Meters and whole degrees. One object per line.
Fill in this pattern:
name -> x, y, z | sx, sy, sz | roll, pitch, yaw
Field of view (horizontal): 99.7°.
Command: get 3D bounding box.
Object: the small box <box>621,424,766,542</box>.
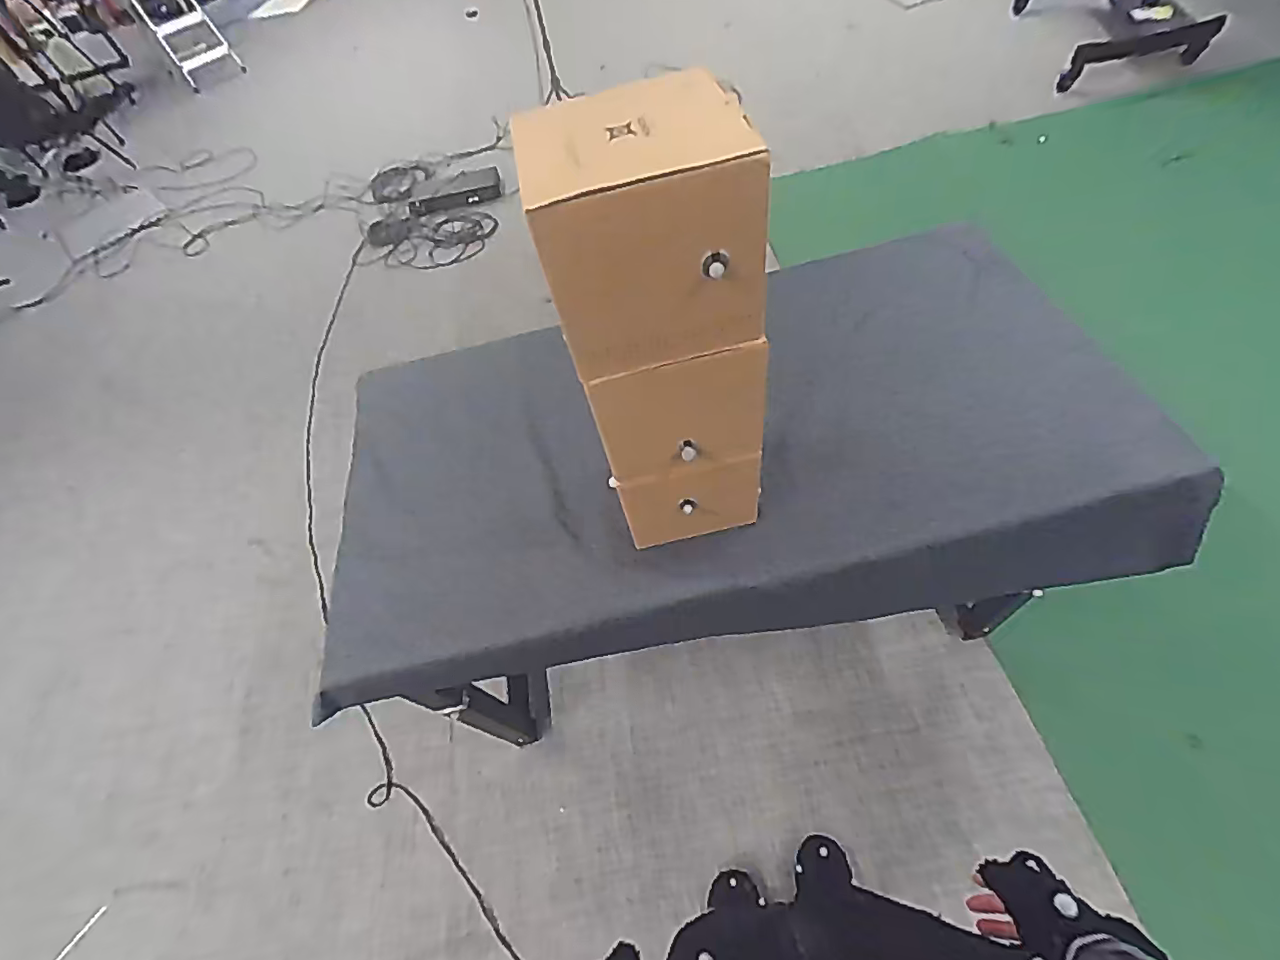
small box -> 0.057, -0.036, 0.743 | 0.179, 0.176, 0.168 | -15, 56, -1

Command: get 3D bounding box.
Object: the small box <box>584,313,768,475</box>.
small box -> 0.031, -0.128, 0.610 | 0.179, 0.176, 0.168 | -13, 56, 1

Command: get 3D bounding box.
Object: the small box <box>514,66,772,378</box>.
small box -> 0.004, -0.218, 0.478 | 0.179, 0.176, 0.168 | -15, 55, 2
